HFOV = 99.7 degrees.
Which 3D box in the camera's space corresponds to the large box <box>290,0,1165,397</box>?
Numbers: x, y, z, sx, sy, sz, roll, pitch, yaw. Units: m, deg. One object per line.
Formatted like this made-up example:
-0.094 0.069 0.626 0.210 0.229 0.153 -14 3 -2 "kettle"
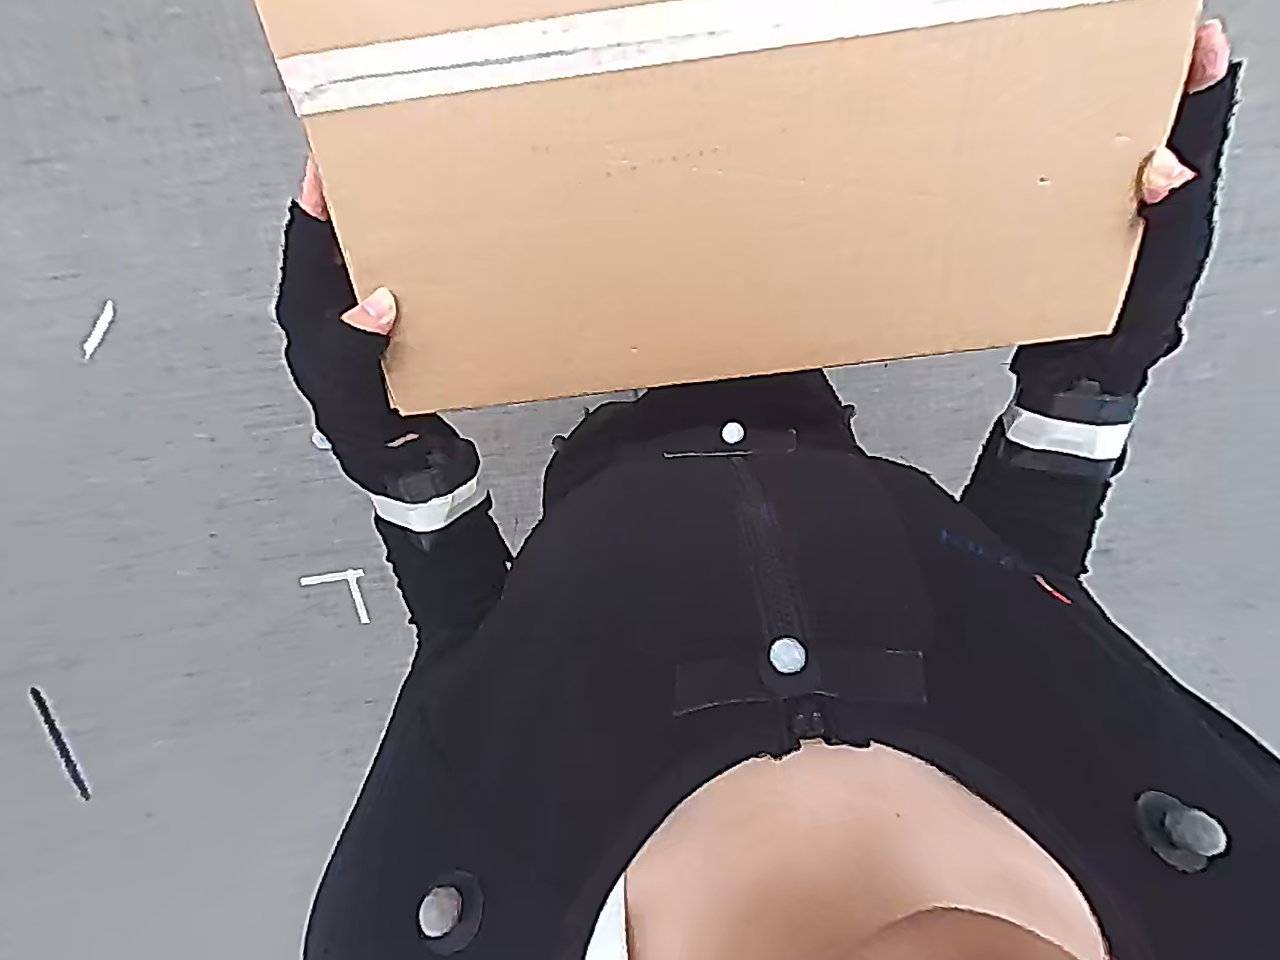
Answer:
0.038 -0.273 0.385 0.408 0.320 0.320 -7 116 2 "large box"
